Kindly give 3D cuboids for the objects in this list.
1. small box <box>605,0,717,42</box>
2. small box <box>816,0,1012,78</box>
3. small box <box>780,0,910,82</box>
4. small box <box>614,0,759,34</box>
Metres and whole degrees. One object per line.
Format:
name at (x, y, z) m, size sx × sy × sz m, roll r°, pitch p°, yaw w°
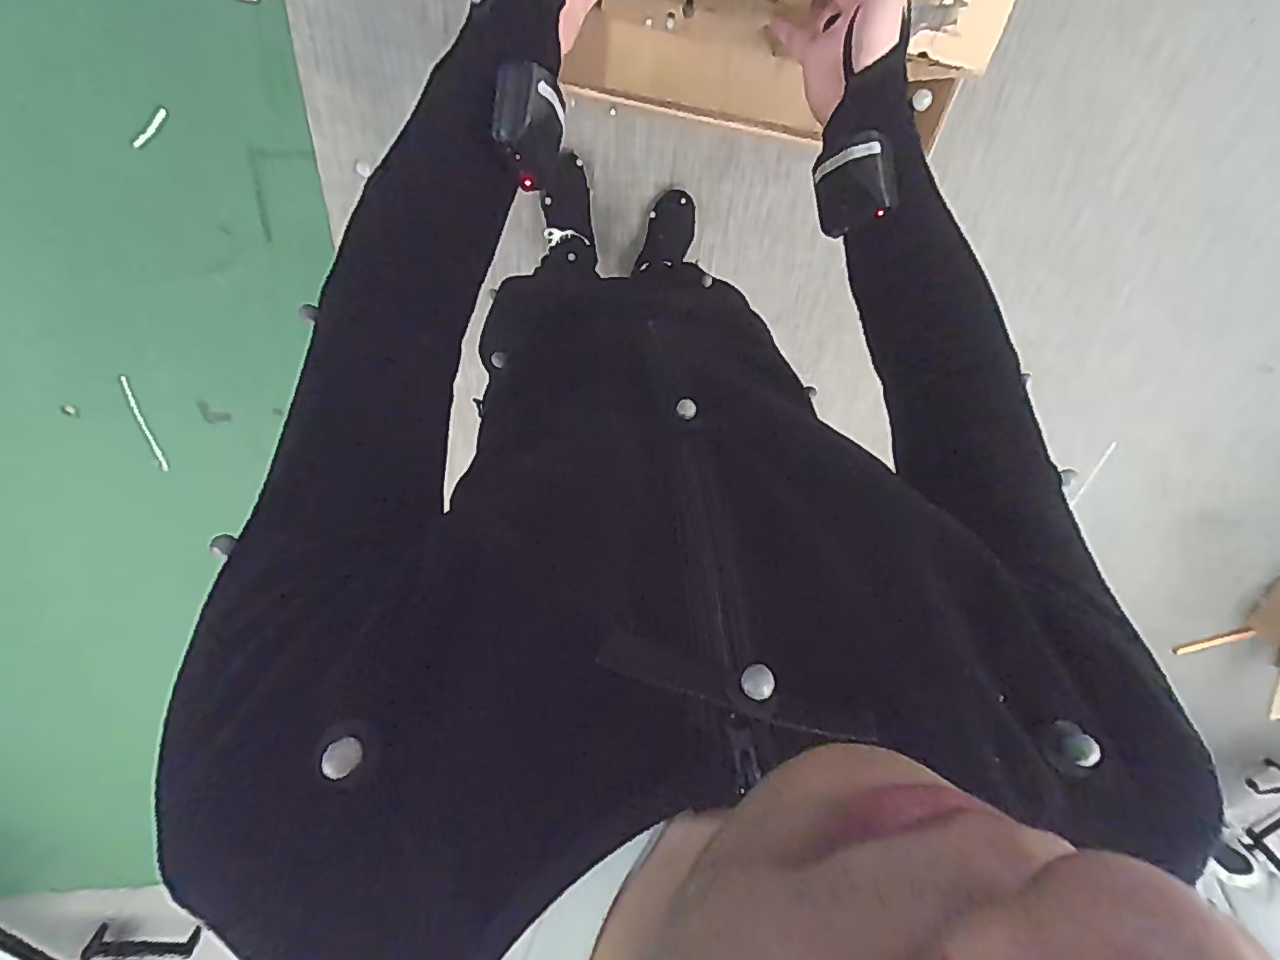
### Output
small box at (0.044, -0.725, 0.726) m, size 0.168 × 0.176 × 0.179 m, roll 9°, pitch 124°, yaw -10°
small box at (0.330, -0.600, 0.641) m, size 0.168 × 0.176 × 0.179 m, roll 6°, pitch 124°, yaw -9°
small box at (0.317, -0.693, 0.775) m, size 0.168 × 0.176 × 0.179 m, roll 6°, pitch 124°, yaw -9°
small box at (0.057, -0.624, 0.598) m, size 0.168 × 0.176 × 0.179 m, roll 7°, pitch 125°, yaw -10°
